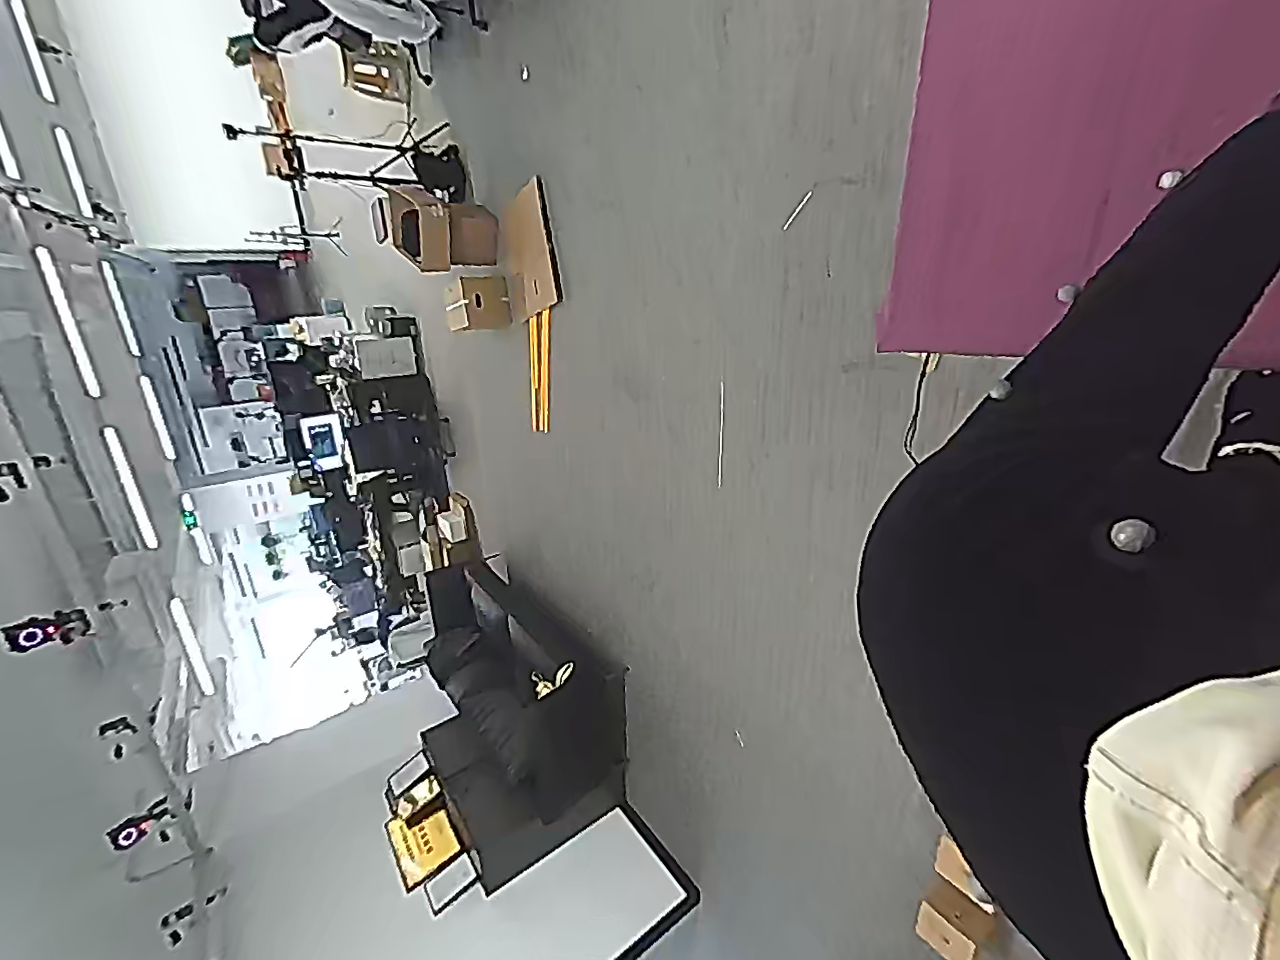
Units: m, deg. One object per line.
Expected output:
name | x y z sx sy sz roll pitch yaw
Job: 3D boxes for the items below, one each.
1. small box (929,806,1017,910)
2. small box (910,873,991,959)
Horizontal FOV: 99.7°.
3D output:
small box | 1.064 1.195 1.726 0.179 0.176 0.168 25 123 50
small box | 1.061 1.497 1.847 0.179 0.176 0.168 25 122 49
